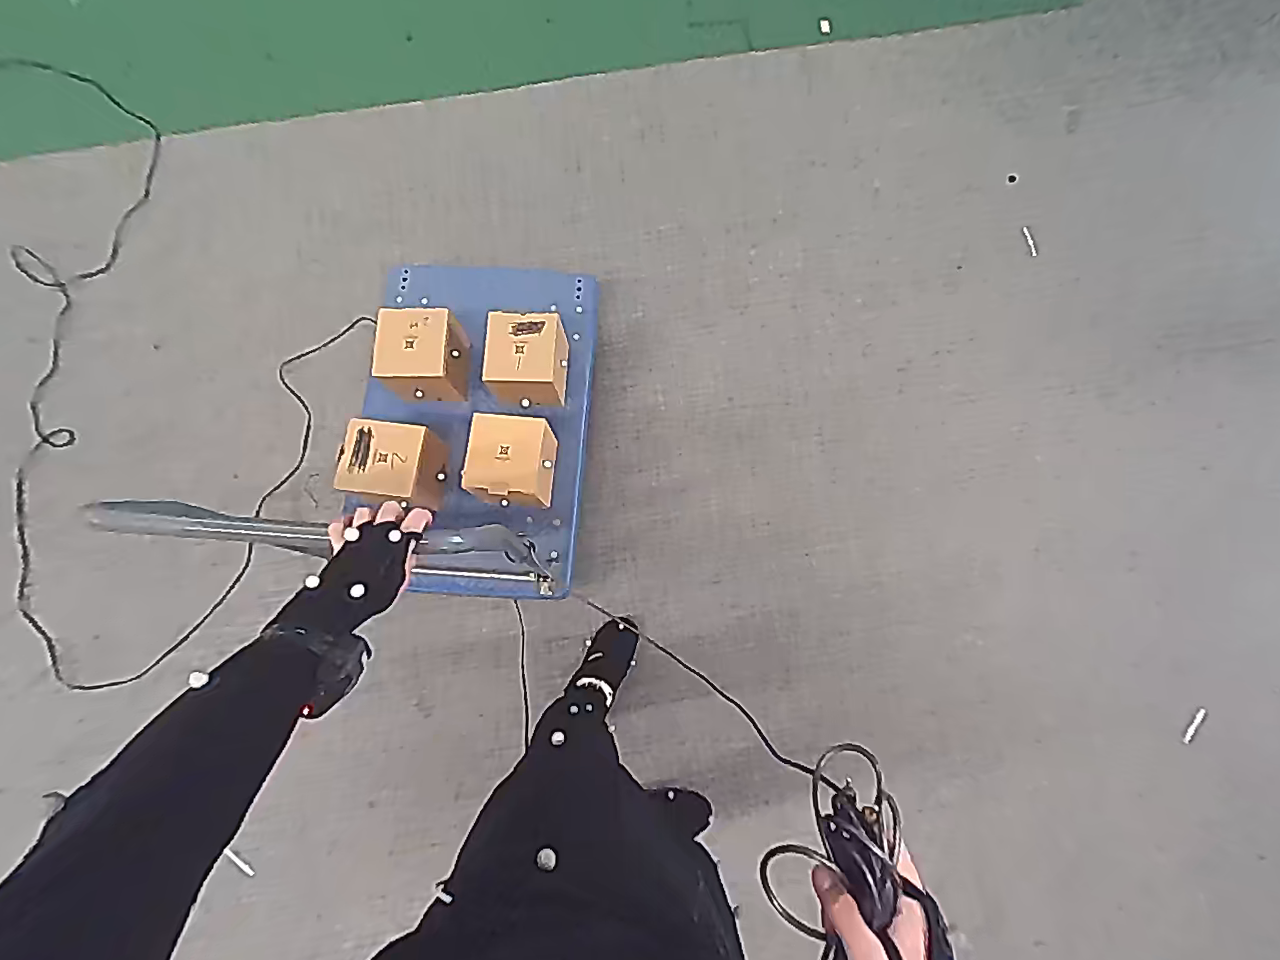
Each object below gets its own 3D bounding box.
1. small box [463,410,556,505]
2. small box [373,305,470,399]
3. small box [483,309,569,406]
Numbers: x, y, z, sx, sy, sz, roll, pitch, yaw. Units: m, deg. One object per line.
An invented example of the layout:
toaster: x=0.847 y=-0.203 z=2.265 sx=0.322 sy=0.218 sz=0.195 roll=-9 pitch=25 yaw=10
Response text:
small box: x=-0.296 y=-0.047 z=1.265 sx=0.168 sy=0.176 sz=0.179 roll=5 pitch=78 yaw=1
small box: x=-0.527 y=-0.307 z=1.325 sx=0.168 sy=0.176 sz=0.179 roll=1 pitch=77 yaw=0
small box: x=-0.270 y=-0.295 z=1.319 sx=0.168 sy=0.176 sz=0.179 roll=2 pitch=78 yaw=2
